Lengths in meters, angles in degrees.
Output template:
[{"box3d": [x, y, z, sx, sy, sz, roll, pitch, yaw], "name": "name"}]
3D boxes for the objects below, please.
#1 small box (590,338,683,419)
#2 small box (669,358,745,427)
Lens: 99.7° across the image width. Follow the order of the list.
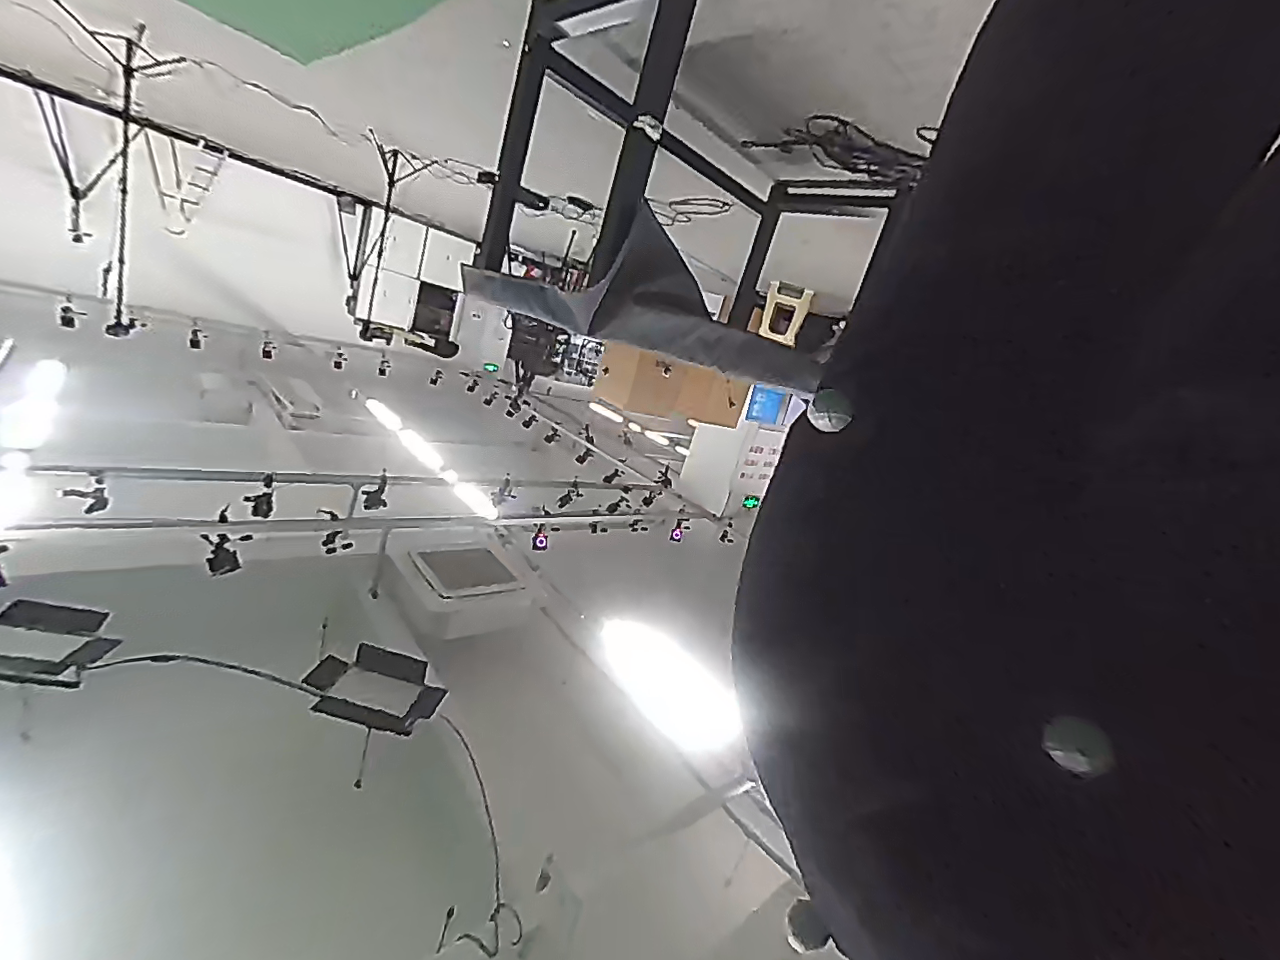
[{"box3d": [-0.008, -0.279, 1.464, 0.168, 0.176, 0.179, 3, -161, -38], "name": "small box"}, {"box3d": [0.211, -0.279, 1.706, 0.168, 0.176, 0.179, 4, -160, -40], "name": "small box"}]
